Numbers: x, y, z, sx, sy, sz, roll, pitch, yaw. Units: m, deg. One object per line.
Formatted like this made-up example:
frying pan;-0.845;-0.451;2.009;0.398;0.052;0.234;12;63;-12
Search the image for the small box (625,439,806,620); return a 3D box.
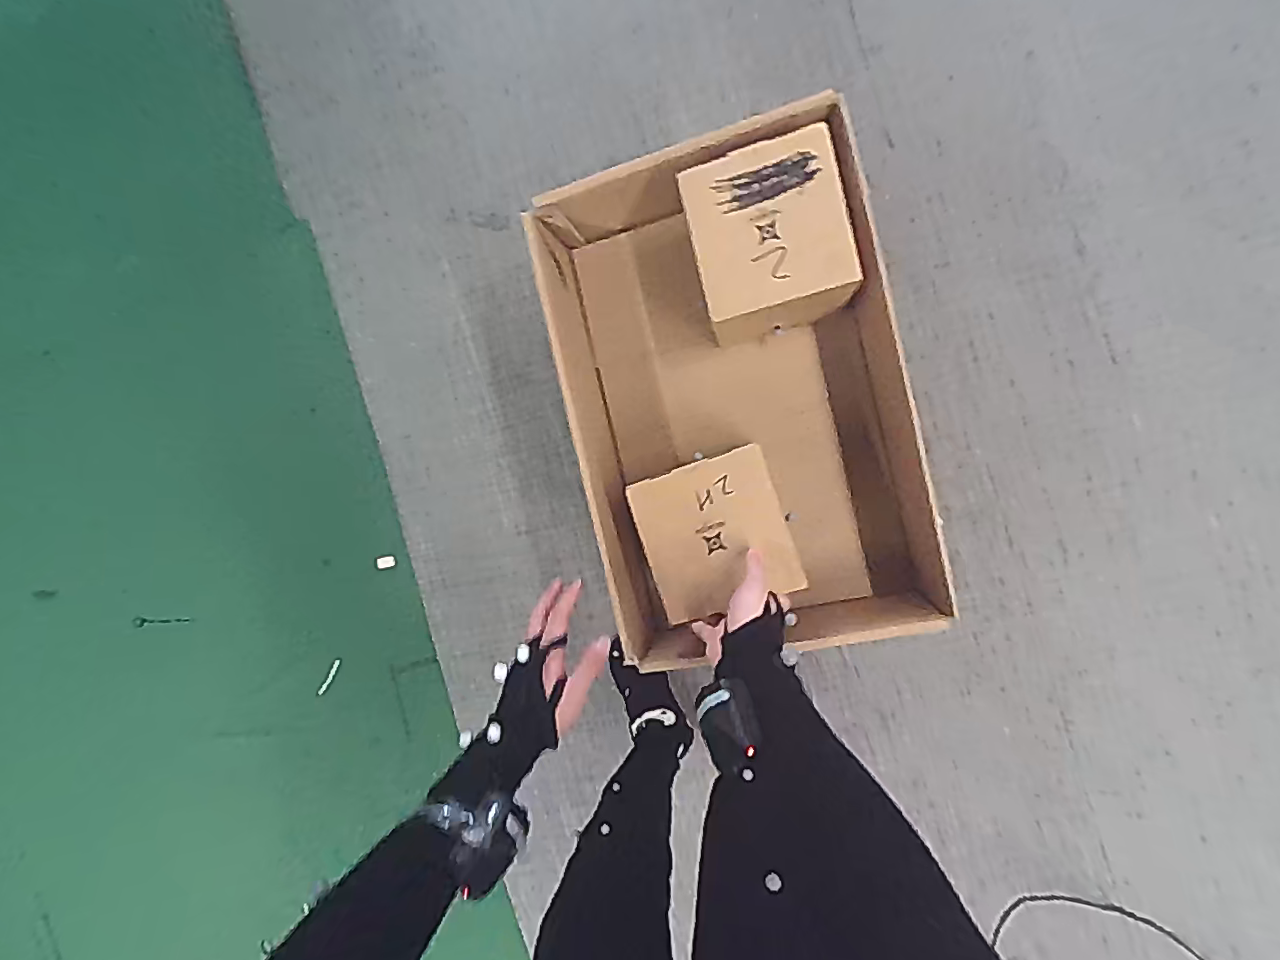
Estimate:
small box;0.102;0.055;0.692;0.168;0.176;0.179;-20;88;13
